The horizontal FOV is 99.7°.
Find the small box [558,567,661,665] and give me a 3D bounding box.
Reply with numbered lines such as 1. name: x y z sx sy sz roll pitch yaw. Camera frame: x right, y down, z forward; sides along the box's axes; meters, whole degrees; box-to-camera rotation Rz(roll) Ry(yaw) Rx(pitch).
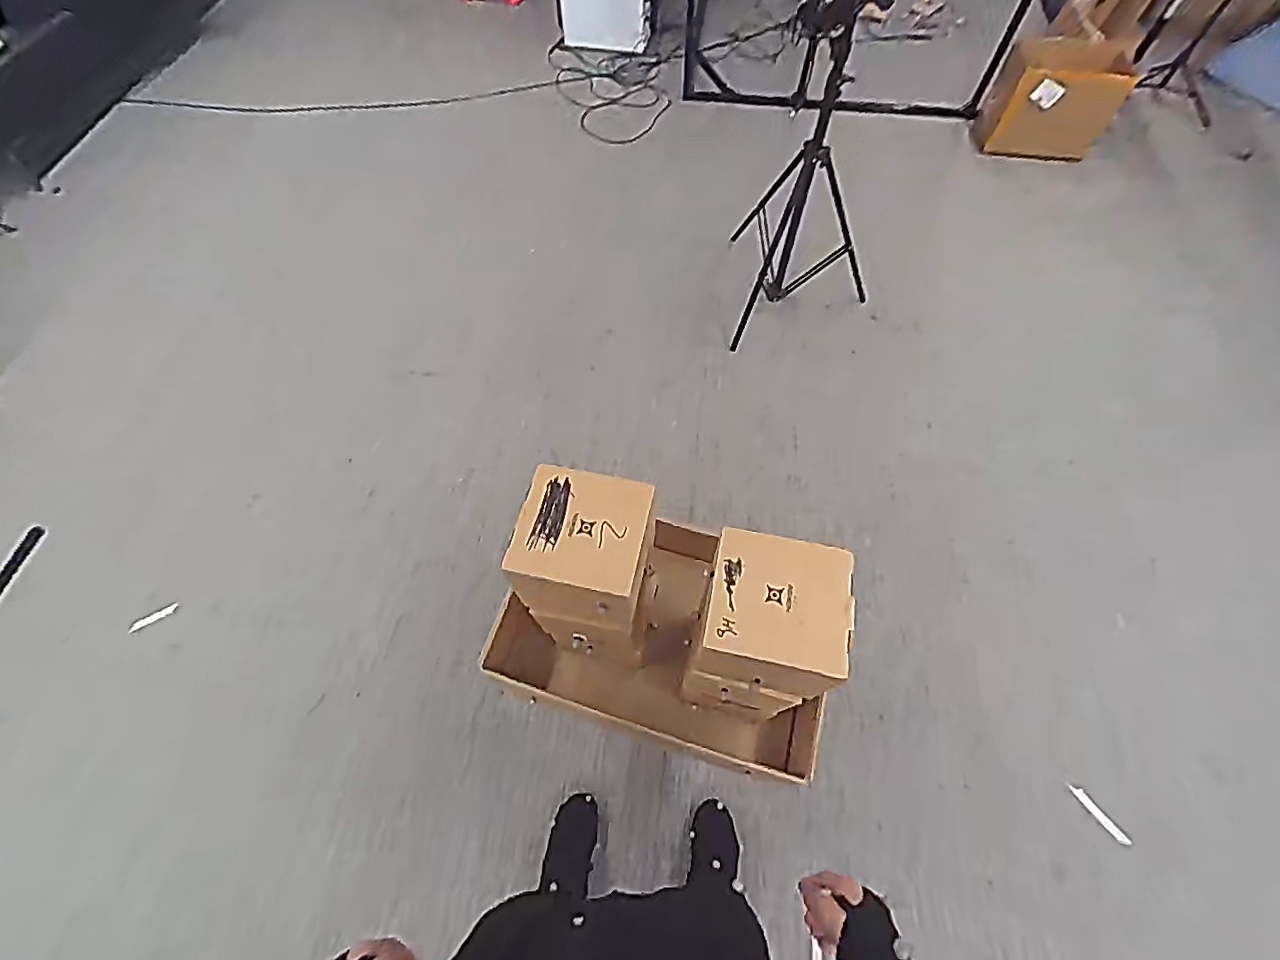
1. small box: -0.063 0.259 1.081 0.179 0.176 0.168 13 64 7

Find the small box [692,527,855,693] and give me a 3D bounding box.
1. small box: 0.177 0.187 0.748 0.179 0.176 0.168 12 62 6

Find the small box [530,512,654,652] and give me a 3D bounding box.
1. small box: -0.073 0.180 0.937 0.168 0.176 0.179 10 62 7

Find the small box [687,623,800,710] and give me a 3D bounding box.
1. small box: 0.175 0.266 0.892 0.168 0.176 0.179 14 62 8
